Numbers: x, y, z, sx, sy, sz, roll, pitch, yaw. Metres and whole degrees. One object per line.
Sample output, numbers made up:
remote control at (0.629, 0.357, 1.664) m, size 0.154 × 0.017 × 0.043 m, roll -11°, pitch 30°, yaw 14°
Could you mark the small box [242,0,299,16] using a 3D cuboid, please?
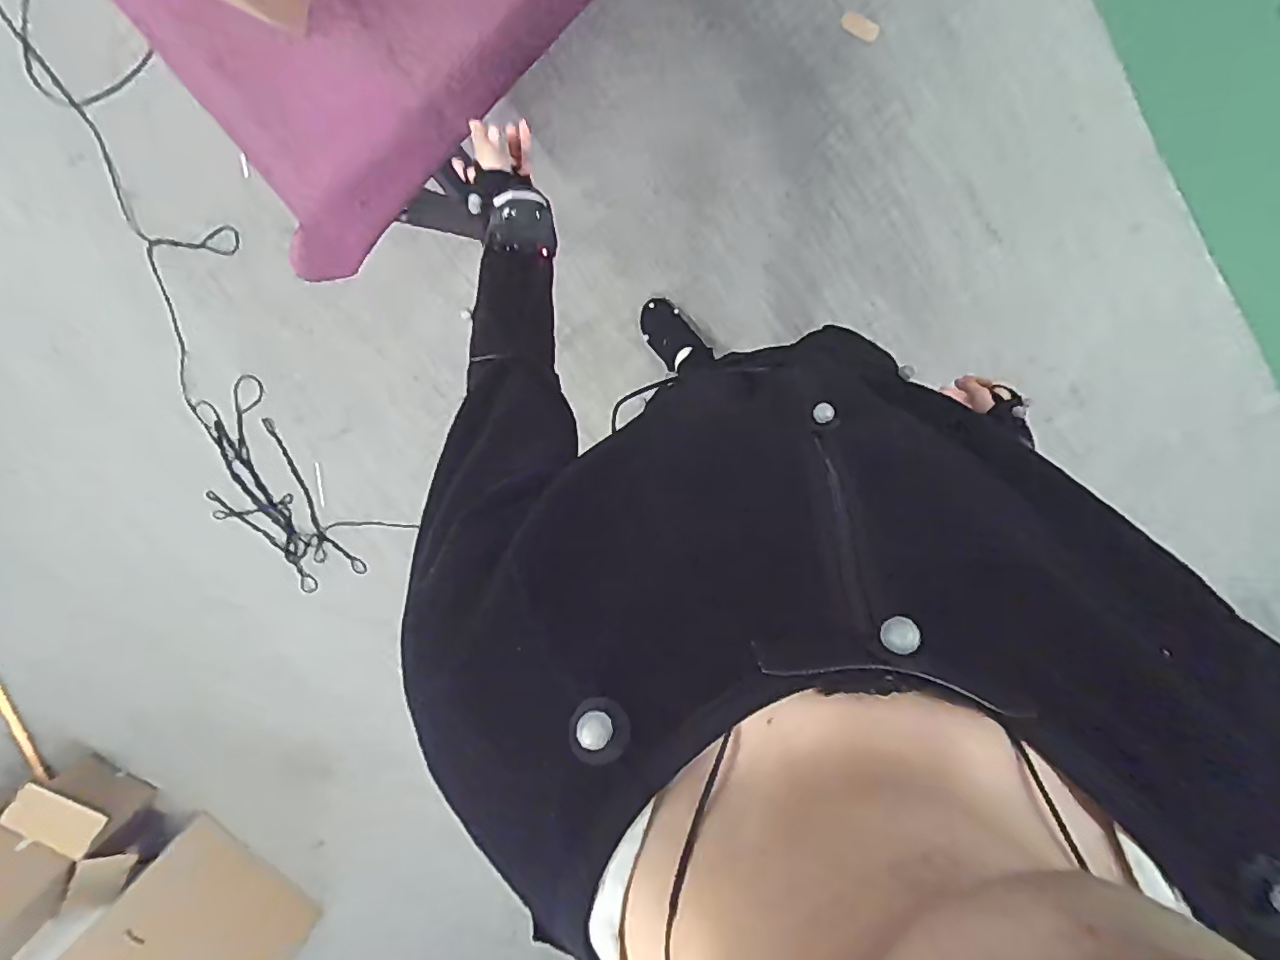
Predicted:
small box at (-0.449, -0.600, 0.516) m, size 0.179 × 0.176 × 0.168 m, roll 25°, pitch 110°, yaw -5°
